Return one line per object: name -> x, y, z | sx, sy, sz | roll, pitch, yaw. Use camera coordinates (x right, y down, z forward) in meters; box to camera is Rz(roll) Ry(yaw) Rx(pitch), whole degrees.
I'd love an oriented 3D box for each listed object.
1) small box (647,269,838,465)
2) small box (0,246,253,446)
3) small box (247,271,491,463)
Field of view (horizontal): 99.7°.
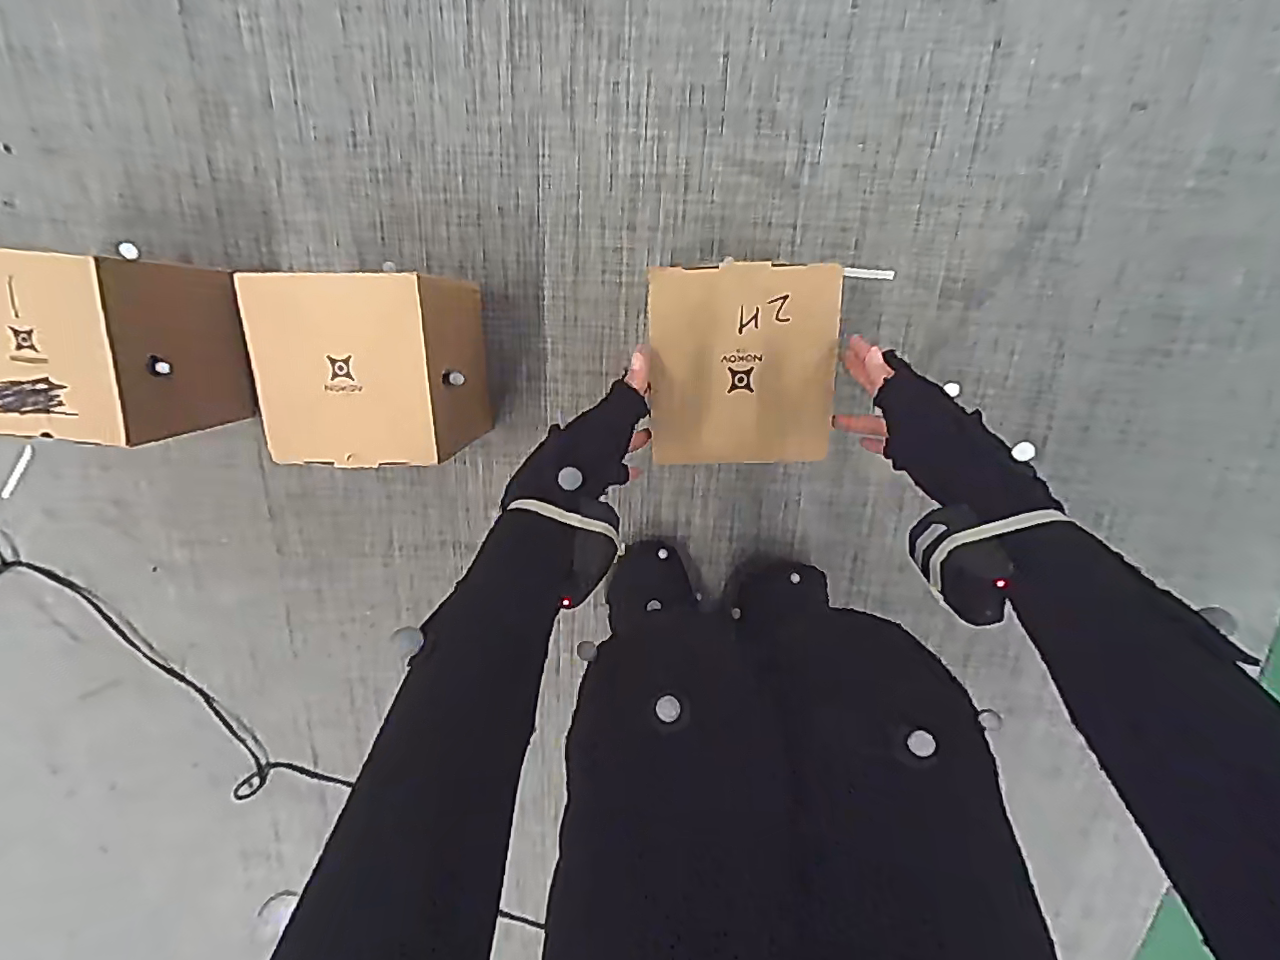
small box -> 0.092, -0.122, 0.565 | 0.168, 0.176, 0.179 | -1, 107, 2
small box -> -0.558, -0.147, 0.583 | 0.168, 0.176, 0.179 | 6, 106, 1
small box -> -0.268, -0.125, 0.581 | 0.168, 0.176, 0.179 | 1, 108, 2
